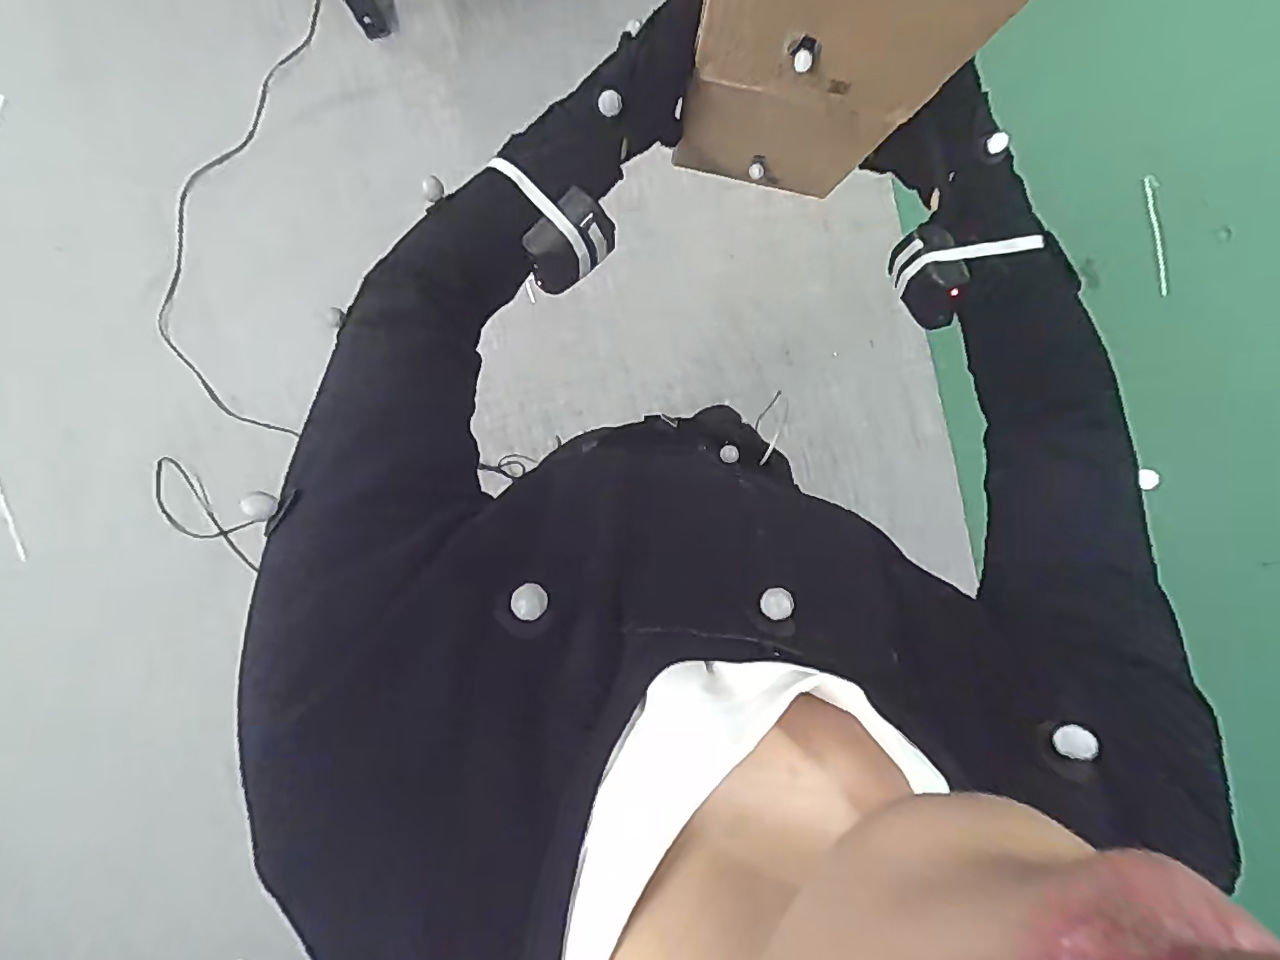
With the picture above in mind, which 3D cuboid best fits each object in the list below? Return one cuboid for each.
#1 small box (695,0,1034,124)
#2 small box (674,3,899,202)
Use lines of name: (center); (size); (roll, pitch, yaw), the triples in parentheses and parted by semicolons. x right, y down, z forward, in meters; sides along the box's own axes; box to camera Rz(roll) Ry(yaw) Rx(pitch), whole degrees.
small box: (0.133, -0.348, 0.306); (0.168, 0.176, 0.179); (10, 100, -3)
small box: (0.128, -0.374, 0.467); (0.168, 0.176, 0.179); (12, 99, -3)
